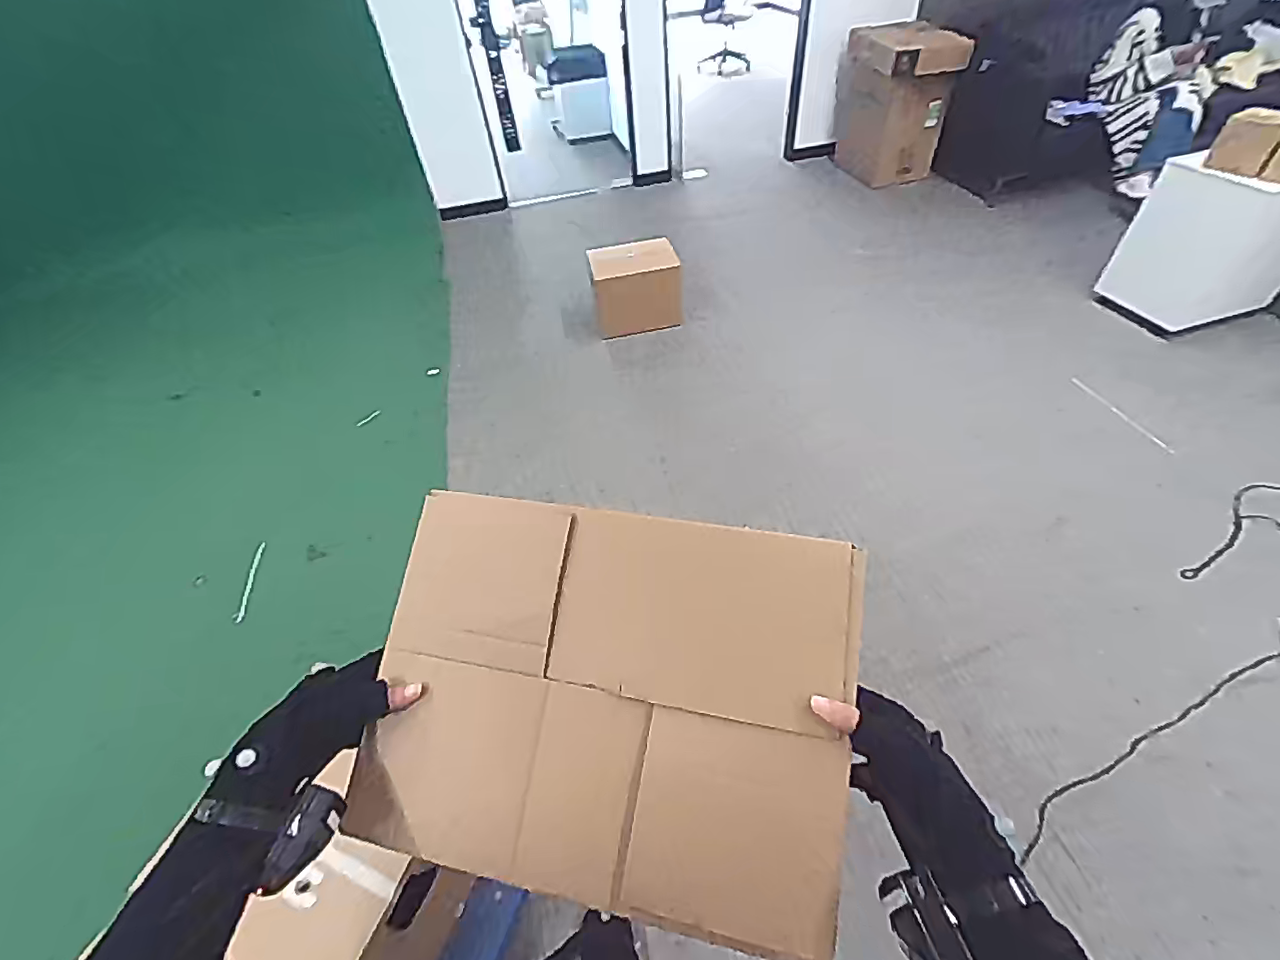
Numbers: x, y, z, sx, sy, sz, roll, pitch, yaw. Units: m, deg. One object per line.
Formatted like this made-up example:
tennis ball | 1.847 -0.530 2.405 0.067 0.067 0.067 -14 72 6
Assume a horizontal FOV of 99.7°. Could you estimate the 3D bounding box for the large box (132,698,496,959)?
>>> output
large box | -0.541 0.661 0.979 0.408 0.320 0.320 15 51 17
